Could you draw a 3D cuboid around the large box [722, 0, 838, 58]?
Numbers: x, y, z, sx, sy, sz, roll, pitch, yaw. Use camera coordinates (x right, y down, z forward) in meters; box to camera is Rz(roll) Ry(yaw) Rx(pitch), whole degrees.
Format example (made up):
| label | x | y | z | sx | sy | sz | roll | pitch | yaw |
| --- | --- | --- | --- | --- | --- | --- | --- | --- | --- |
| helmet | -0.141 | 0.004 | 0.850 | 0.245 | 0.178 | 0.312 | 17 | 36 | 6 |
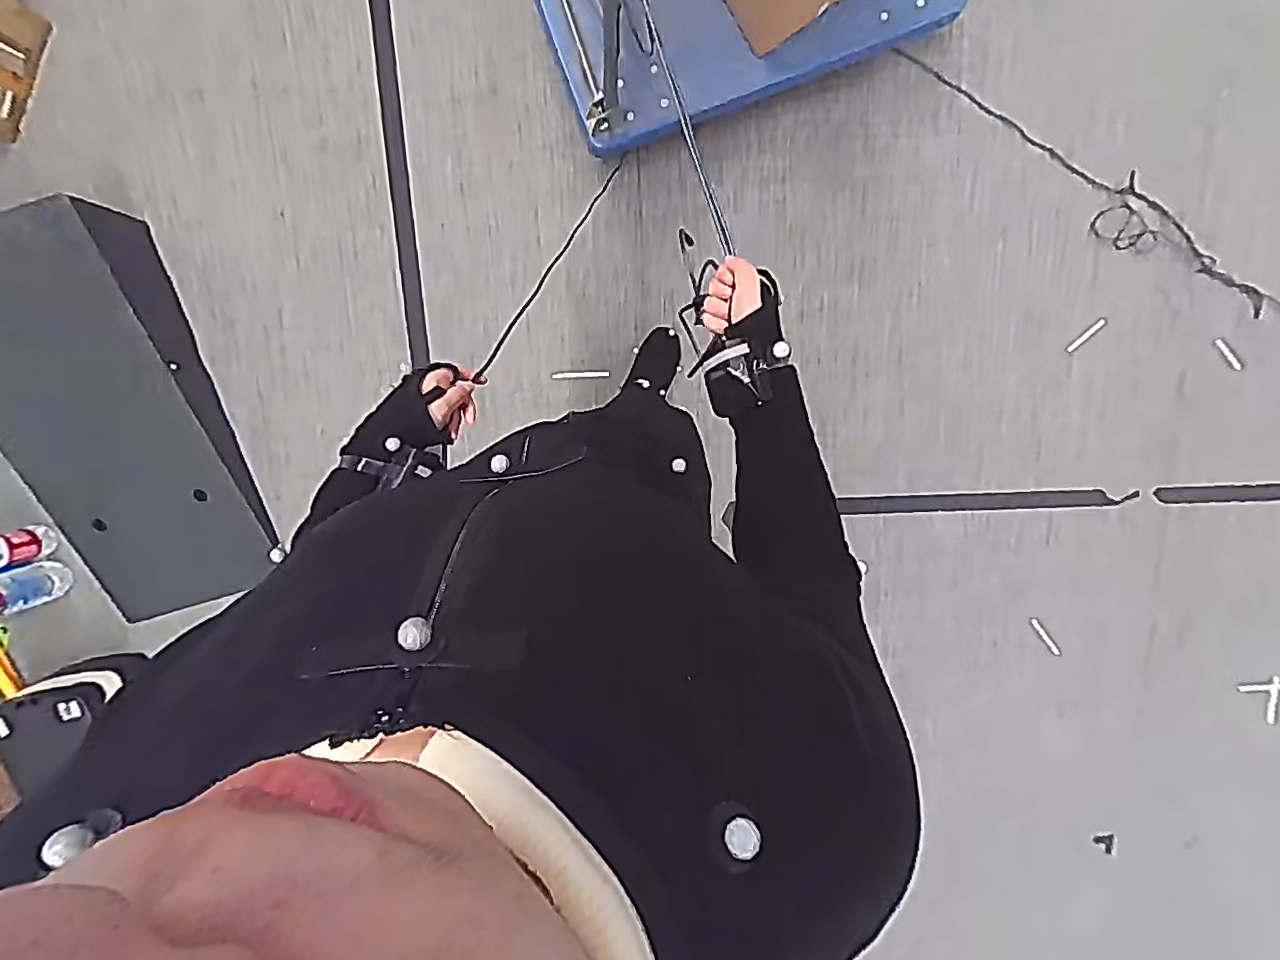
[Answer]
| label | x | y | z | sx | sy | sz | roll | pitch | yaw |
| --- | --- | --- | --- | --- | --- | --- | --- | --- | --- |
| large box | 0.267 | -1.123 | 0.979 | 0.320 | 0.320 | 0.408 | -34 | 99 | 5 |
